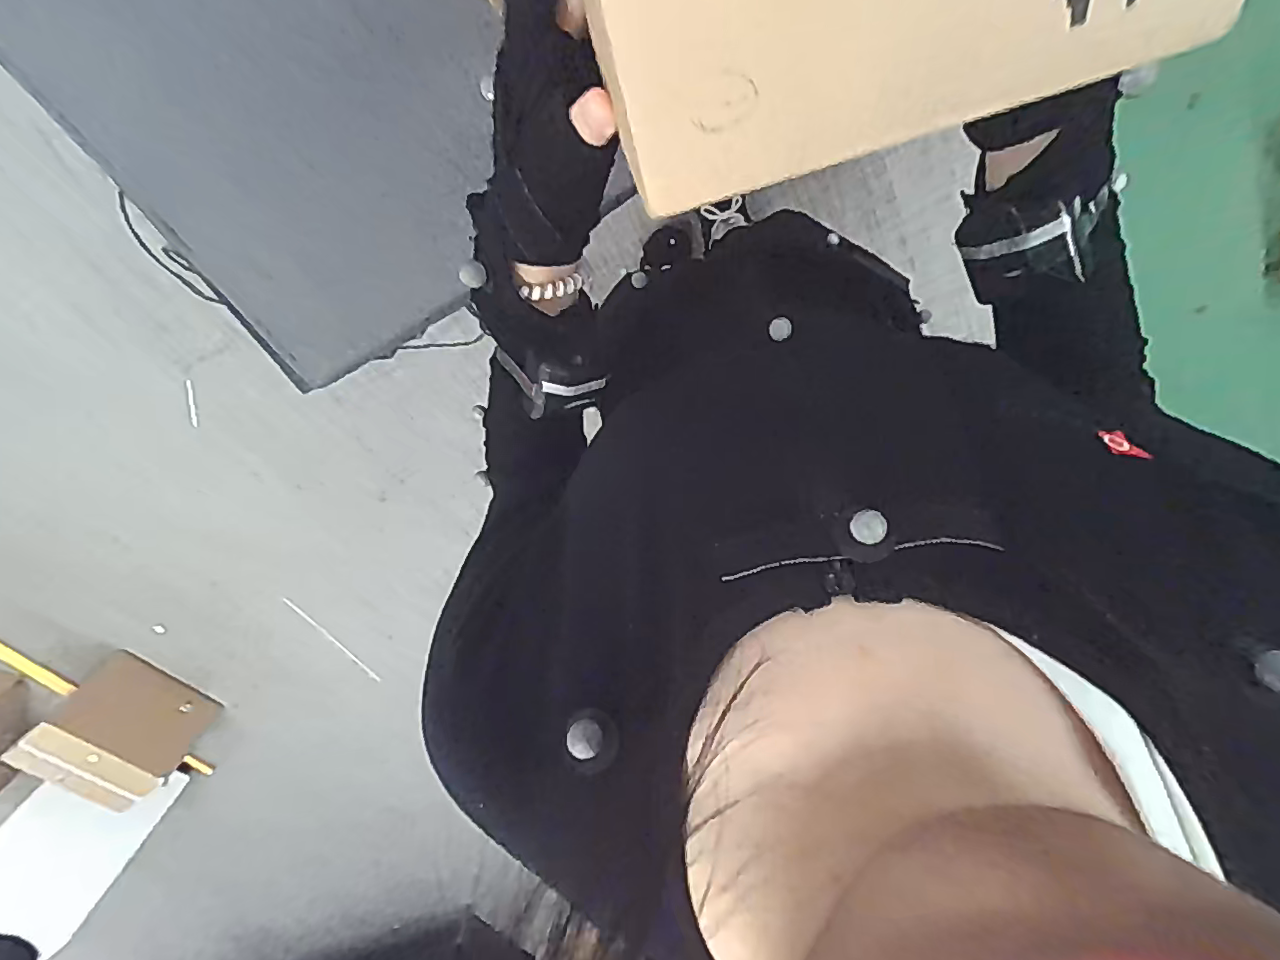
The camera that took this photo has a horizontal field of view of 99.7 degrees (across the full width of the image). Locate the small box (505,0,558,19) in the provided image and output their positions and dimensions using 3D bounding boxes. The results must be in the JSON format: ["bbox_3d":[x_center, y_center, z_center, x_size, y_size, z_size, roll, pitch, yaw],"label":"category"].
[{"bbox_3d":[-0.091,-0.519,0.420,0.168,0.176,0.179,-25,116,14],"label":"small box"}]
